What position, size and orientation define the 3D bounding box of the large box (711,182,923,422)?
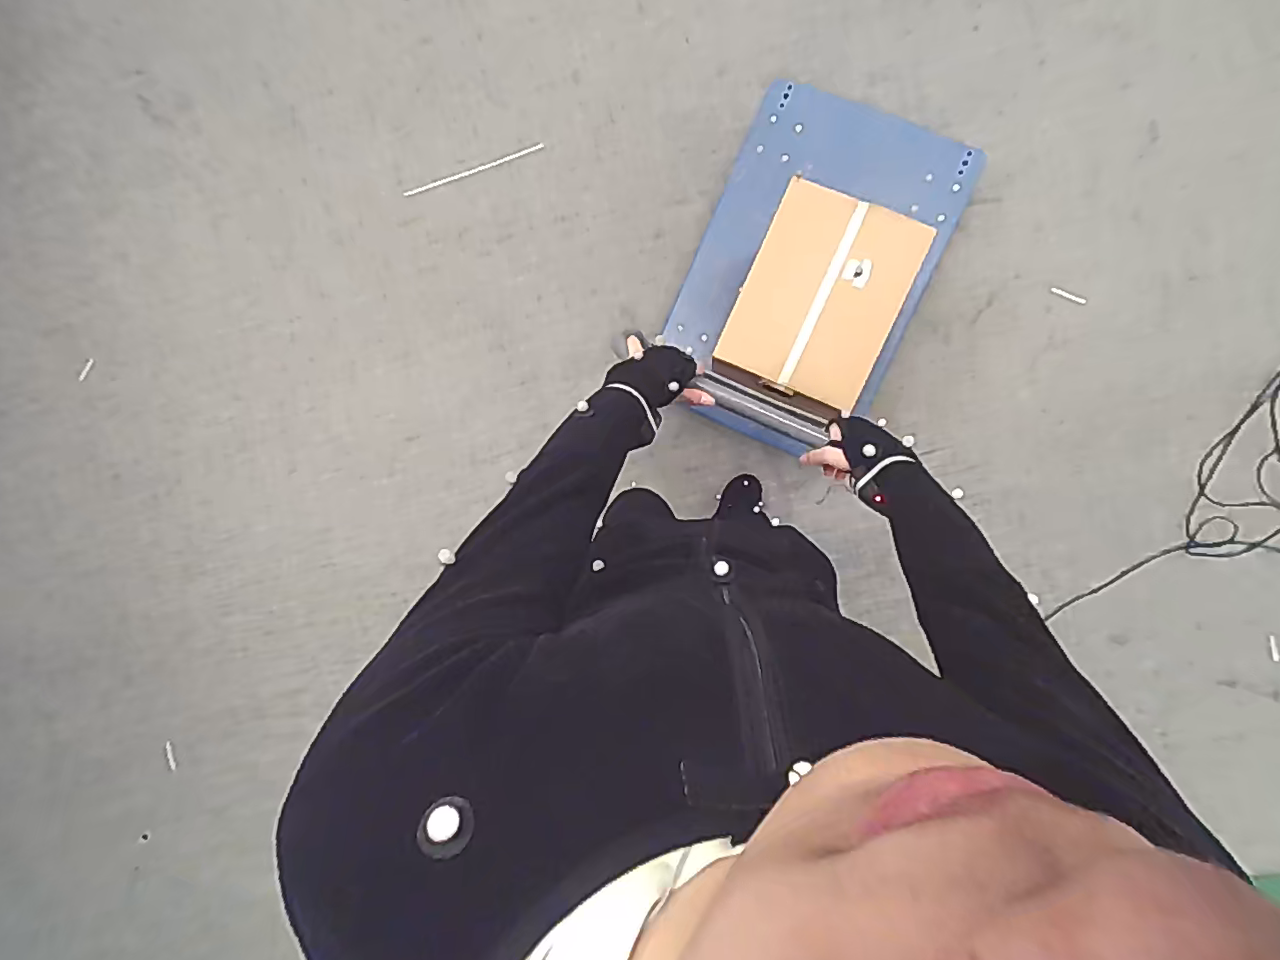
[{"bbox_3d":[0.384,-0.388,1.278,0.320,0.320,0.408,25,94,5],"label":"large box"}]
